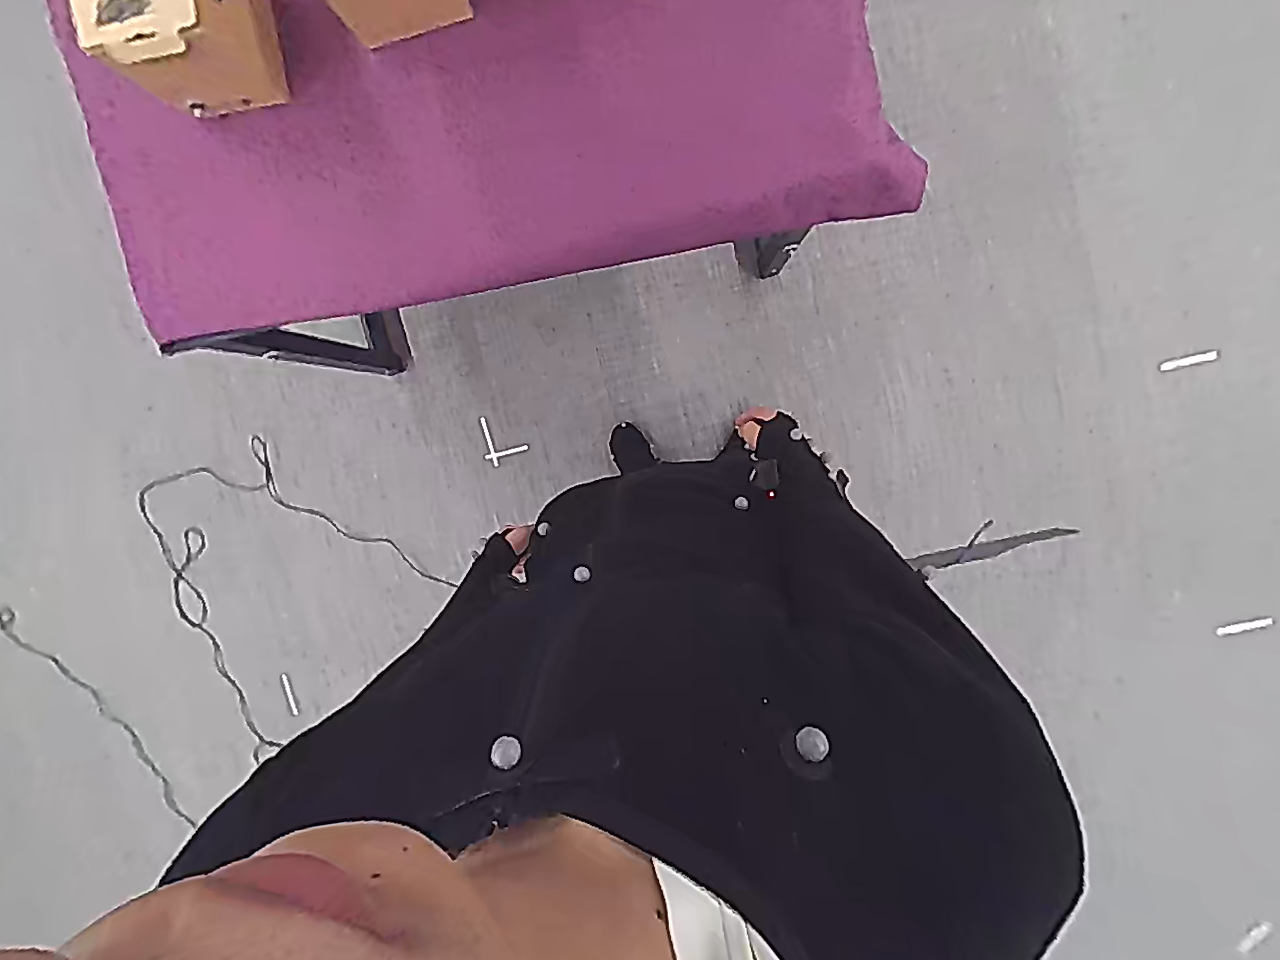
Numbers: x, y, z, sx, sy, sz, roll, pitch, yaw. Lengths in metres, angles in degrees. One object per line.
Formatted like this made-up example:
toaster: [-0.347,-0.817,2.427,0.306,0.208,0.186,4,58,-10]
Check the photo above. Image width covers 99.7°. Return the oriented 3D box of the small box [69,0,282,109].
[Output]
small box: [-0.645,-0.658,0.760,0.168,0.176,0.179,-8,96,3]
